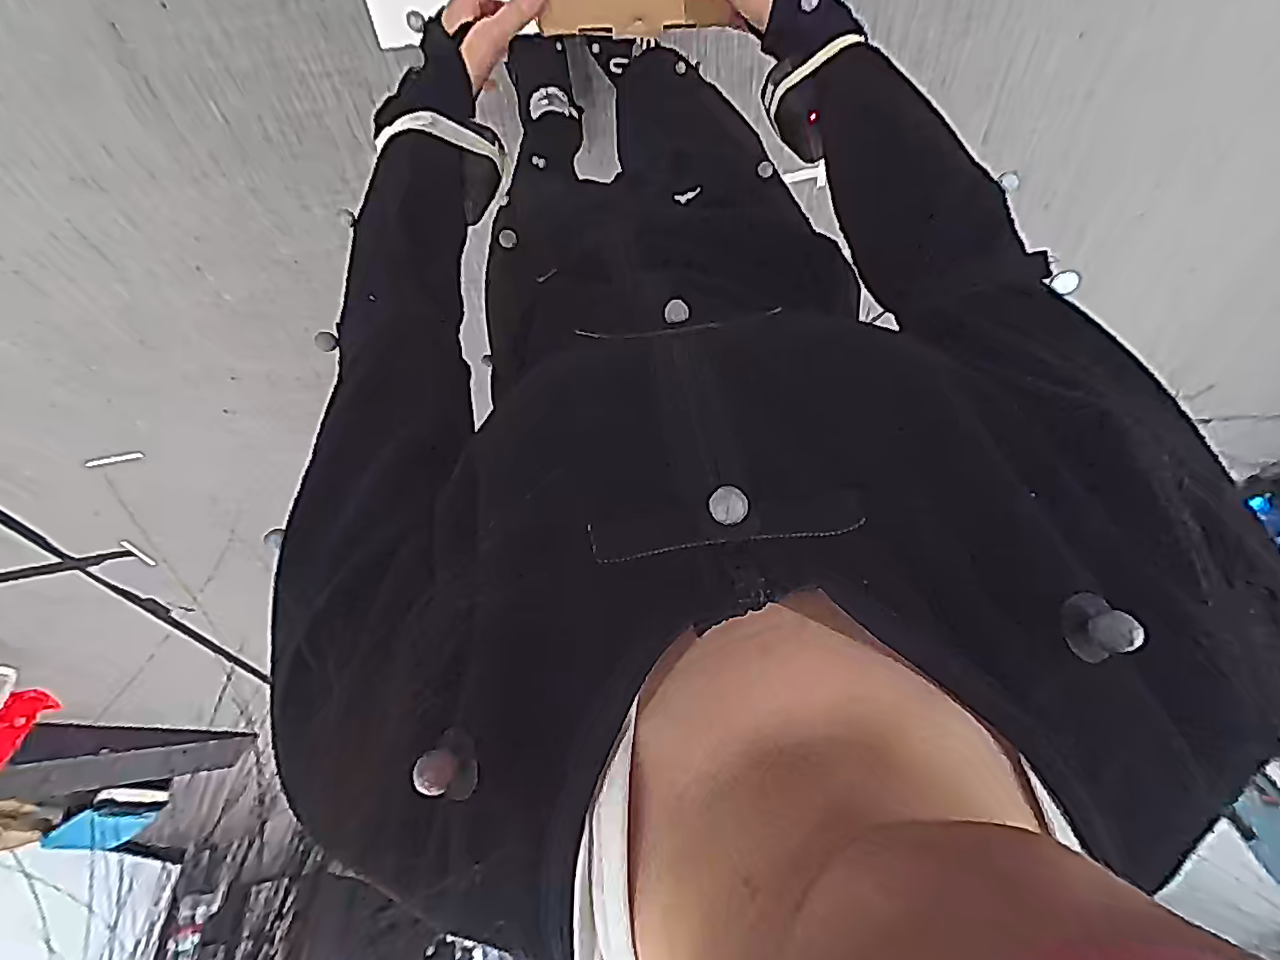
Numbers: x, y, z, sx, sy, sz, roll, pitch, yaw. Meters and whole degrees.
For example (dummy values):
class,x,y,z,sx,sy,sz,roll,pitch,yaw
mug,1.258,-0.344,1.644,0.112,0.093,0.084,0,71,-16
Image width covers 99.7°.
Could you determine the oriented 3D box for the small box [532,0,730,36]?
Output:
class,x,y,z,sx,sy,sz,roll,pitch,yaw
small box,-0.018,-0.498,0.449,0.168,0.176,0.179,-9,138,-7
